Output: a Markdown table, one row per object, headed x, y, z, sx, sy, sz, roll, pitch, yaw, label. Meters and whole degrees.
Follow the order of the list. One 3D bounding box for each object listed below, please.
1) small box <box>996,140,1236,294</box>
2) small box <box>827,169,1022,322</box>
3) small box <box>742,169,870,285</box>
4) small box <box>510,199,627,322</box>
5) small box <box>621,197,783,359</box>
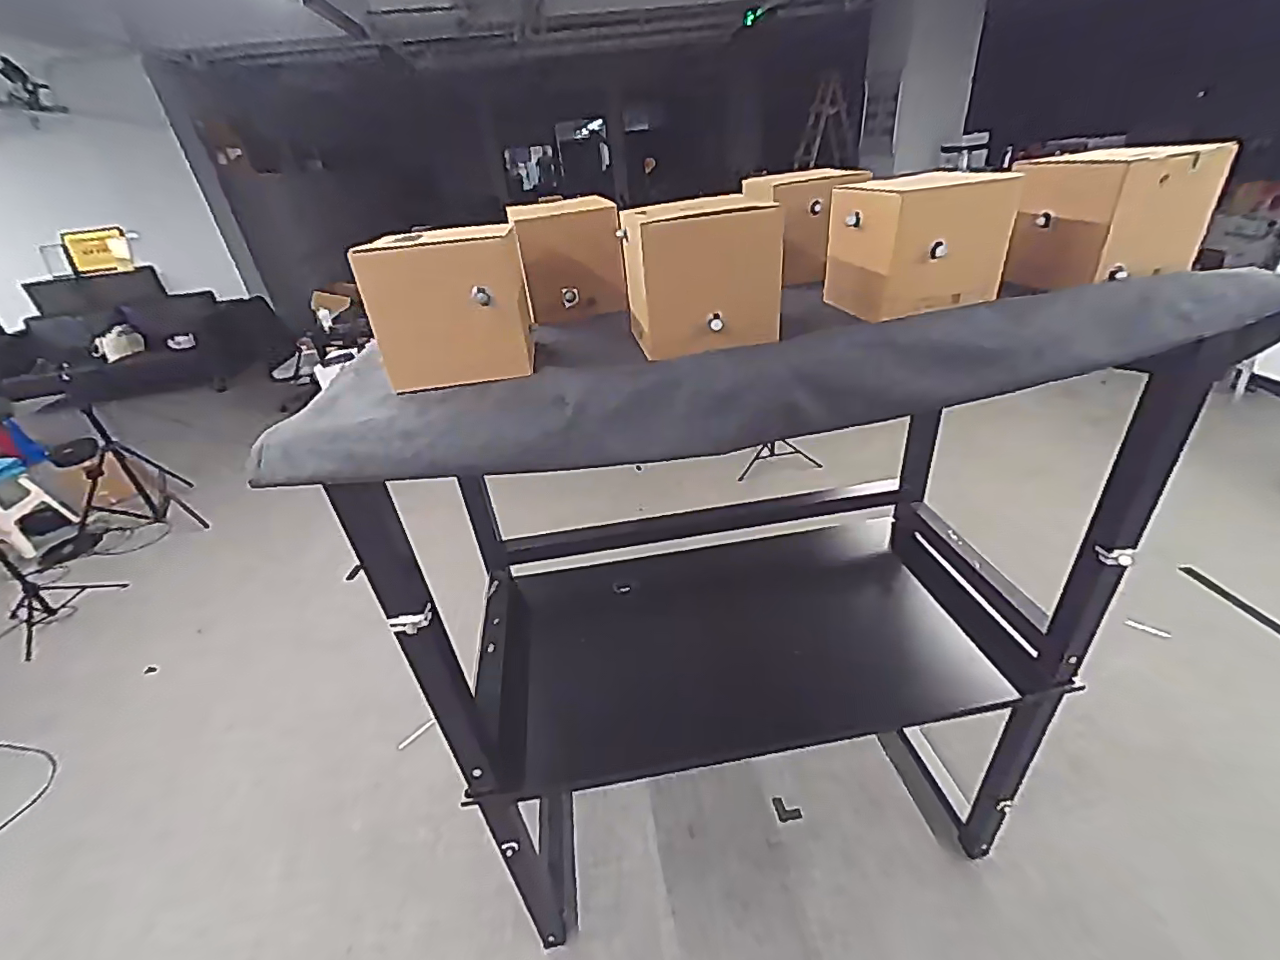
| x | y | z | sx | sy | sz | roll | pitch | yaw | label |
| --- | --- | --- | --- | --- | --- | --- | --- | --- | --- |
| 0.652 | -0.371 | 0.770 | 0.168 | 0.176 | 0.179 | -12 | 31 | -8 | small box |
| 0.380 | -0.328 | 0.758 | 0.168 | 0.176 | 0.179 | -10 | 31 | -6 | small box |
| 0.296 | -0.466 | 0.997 | 0.179 | 0.176 | 0.168 | -9 | 32 | -4 | small box |
| -0.127 | -0.386 | 0.948 | 0.168 | 0.176 | 0.179 | -13 | 32 | -9 | small box |
| 0.076 | -0.276 | 0.731 | 0.179 | 0.176 | 0.168 | -9 | 31 | -5 | small box |
